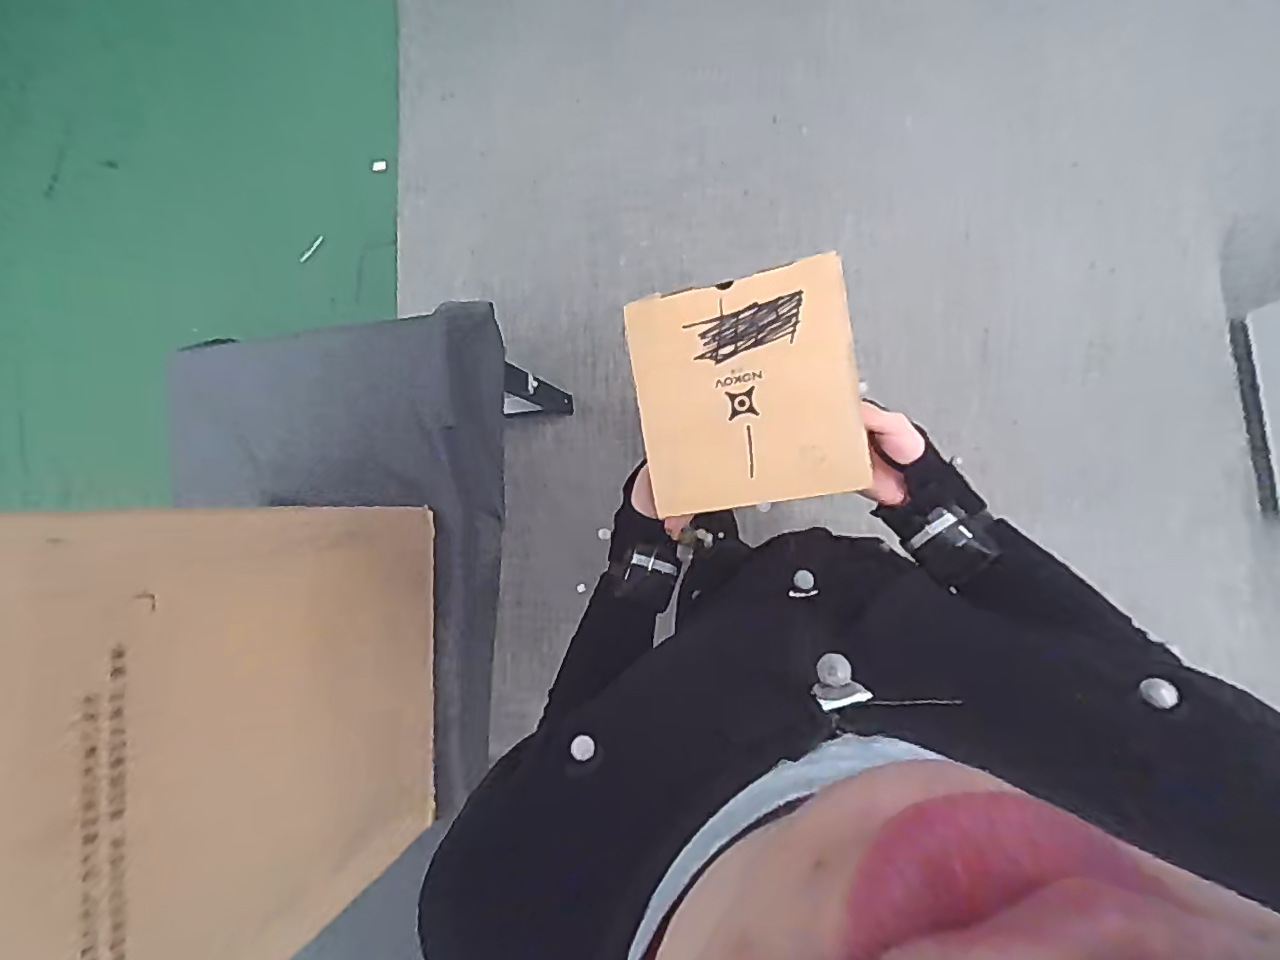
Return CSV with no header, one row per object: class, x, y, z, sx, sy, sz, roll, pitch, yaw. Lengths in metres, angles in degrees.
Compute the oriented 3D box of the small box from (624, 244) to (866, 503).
small box,0.096,-0.080,0.489,0.168,0.176,0.179,-8,92,16
